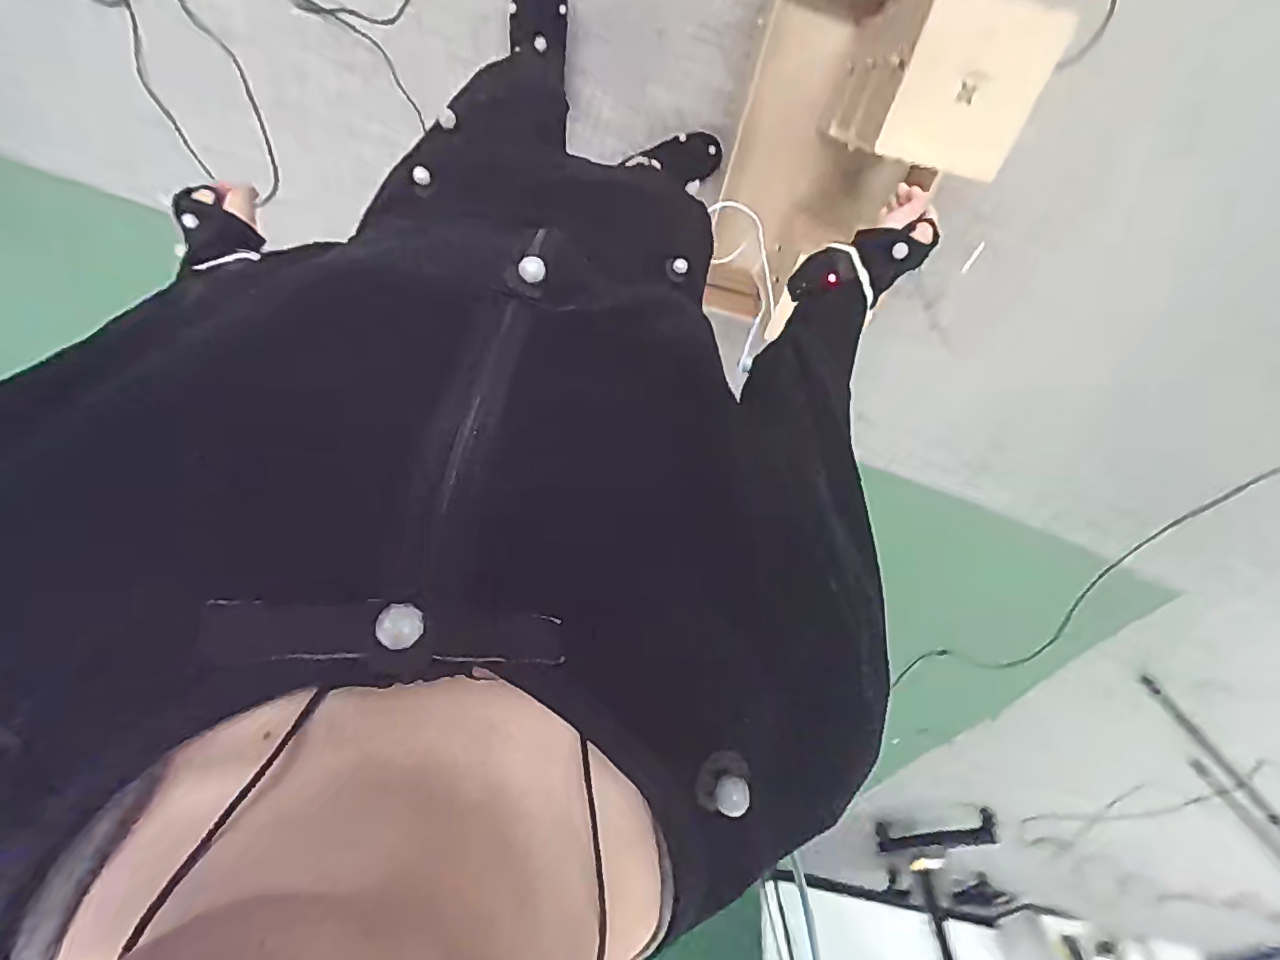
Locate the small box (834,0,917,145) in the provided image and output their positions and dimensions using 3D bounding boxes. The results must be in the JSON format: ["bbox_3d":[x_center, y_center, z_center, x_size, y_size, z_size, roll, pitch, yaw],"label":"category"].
[{"bbox_3d":[0.432,-0.618,0.863,0.168,0.176,0.179,19,127,-5],"label":"small box"}]

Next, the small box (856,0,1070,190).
[{"bbox_3d":[0.413,-0.521,0.735,0.168,0.176,0.179,15,126,-2],"label":"small box"}]

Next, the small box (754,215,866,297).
[{"bbox_3d":[0.362,-0.461,1.193,0.168,0.176,0.179,18,126,-6],"label":"small box"}]

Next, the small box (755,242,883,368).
[{"bbox_3d":[0.339,-0.352,1.071,0.179,0.176,0.168,17,128,-6],"label":"small box"}]
